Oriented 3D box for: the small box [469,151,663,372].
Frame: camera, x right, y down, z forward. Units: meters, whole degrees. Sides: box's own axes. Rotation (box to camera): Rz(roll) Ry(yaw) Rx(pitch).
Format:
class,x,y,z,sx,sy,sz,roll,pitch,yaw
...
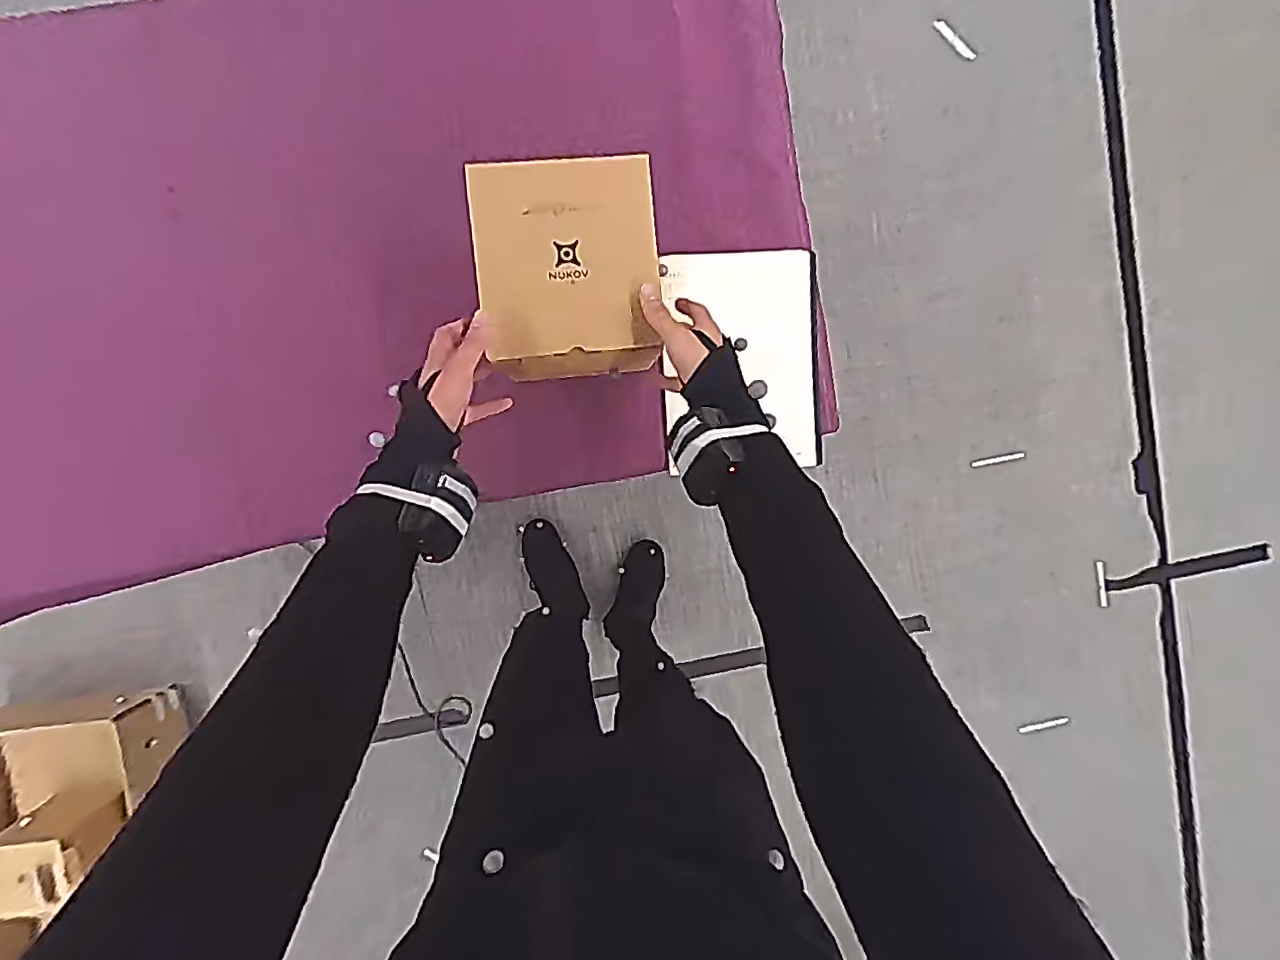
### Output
class,x,y,z,sx,sy,sz,roll,pitch,yaw
small box,-0.070,-0.209,0.565,0.168,0.176,0.179,-5,95,-5
